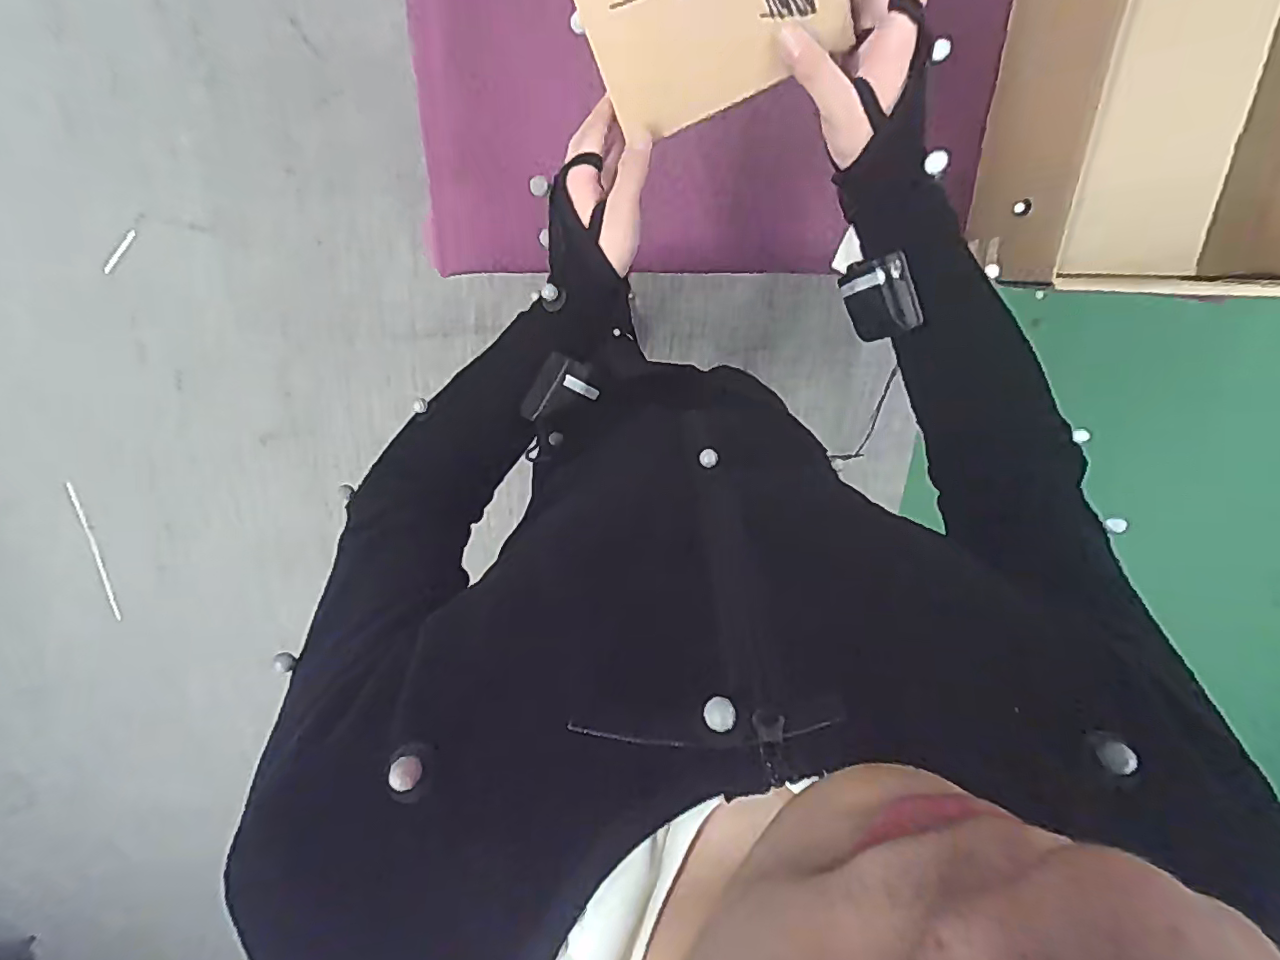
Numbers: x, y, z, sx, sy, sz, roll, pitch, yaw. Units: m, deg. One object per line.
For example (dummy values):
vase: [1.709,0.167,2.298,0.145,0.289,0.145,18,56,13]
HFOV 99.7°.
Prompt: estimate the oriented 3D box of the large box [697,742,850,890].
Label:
large box: [0.474,1.264,1.988,0.408,0.320,0.320,-31,110,6]
